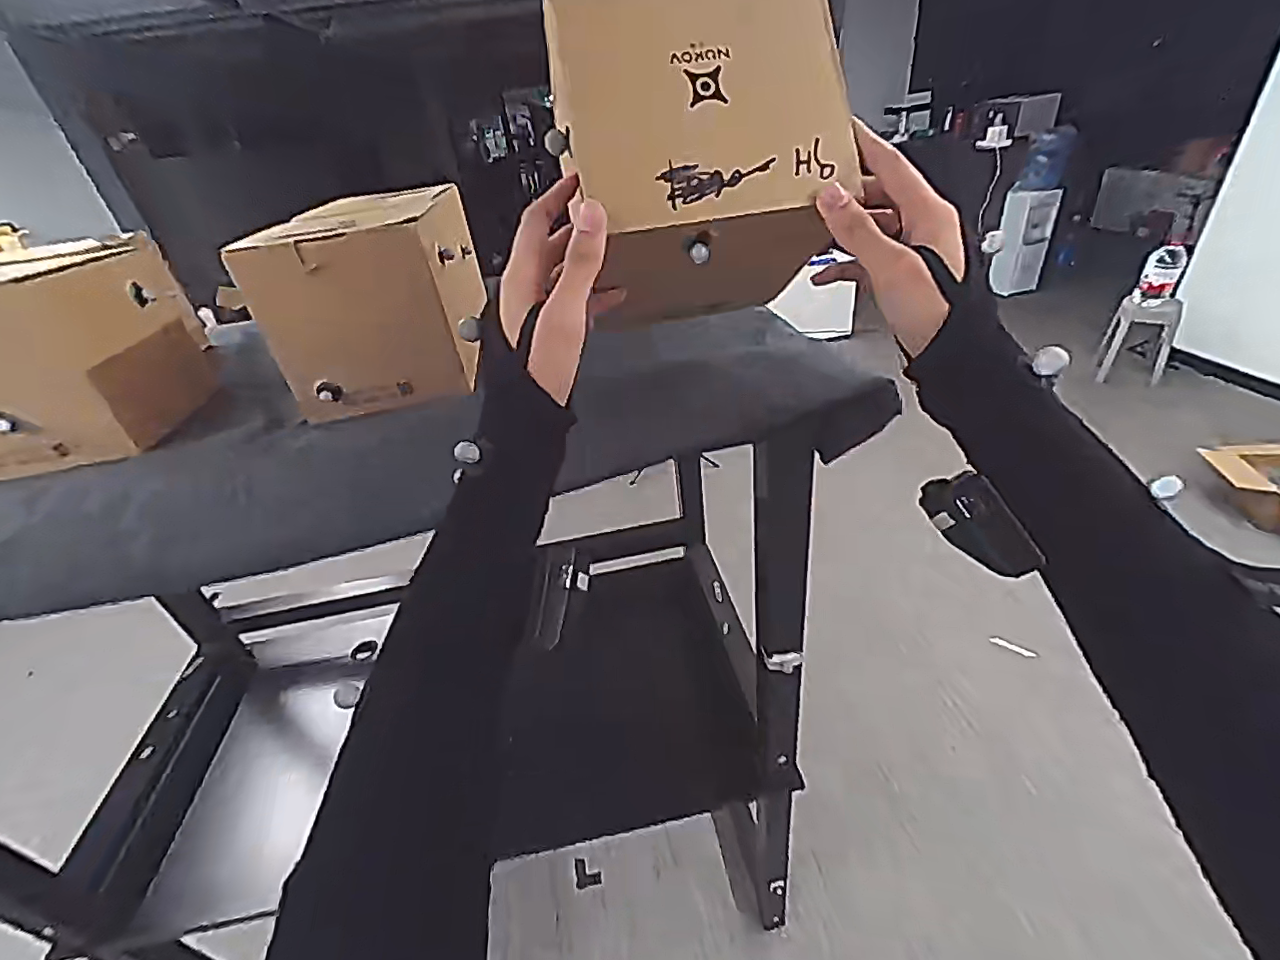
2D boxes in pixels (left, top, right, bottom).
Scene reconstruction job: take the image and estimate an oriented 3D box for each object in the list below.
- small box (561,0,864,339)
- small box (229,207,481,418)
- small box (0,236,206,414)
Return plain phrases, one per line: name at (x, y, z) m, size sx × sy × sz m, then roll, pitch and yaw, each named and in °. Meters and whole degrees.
small box at (0.035, -0.226, 0.405) m, size 0.168 × 0.179 × 0.176 m, roll -9°, pitch -5°, yaw -6°
small box at (-0.275, -0.176, 0.575) m, size 0.168 × 0.176 × 0.179 m, roll -12°, pitch 34°, yaw -6°
small box at (-0.733, -0.206, 0.713) m, size 0.179 × 0.176 × 0.168 m, roll -13°, pitch 34°, yaw -7°
